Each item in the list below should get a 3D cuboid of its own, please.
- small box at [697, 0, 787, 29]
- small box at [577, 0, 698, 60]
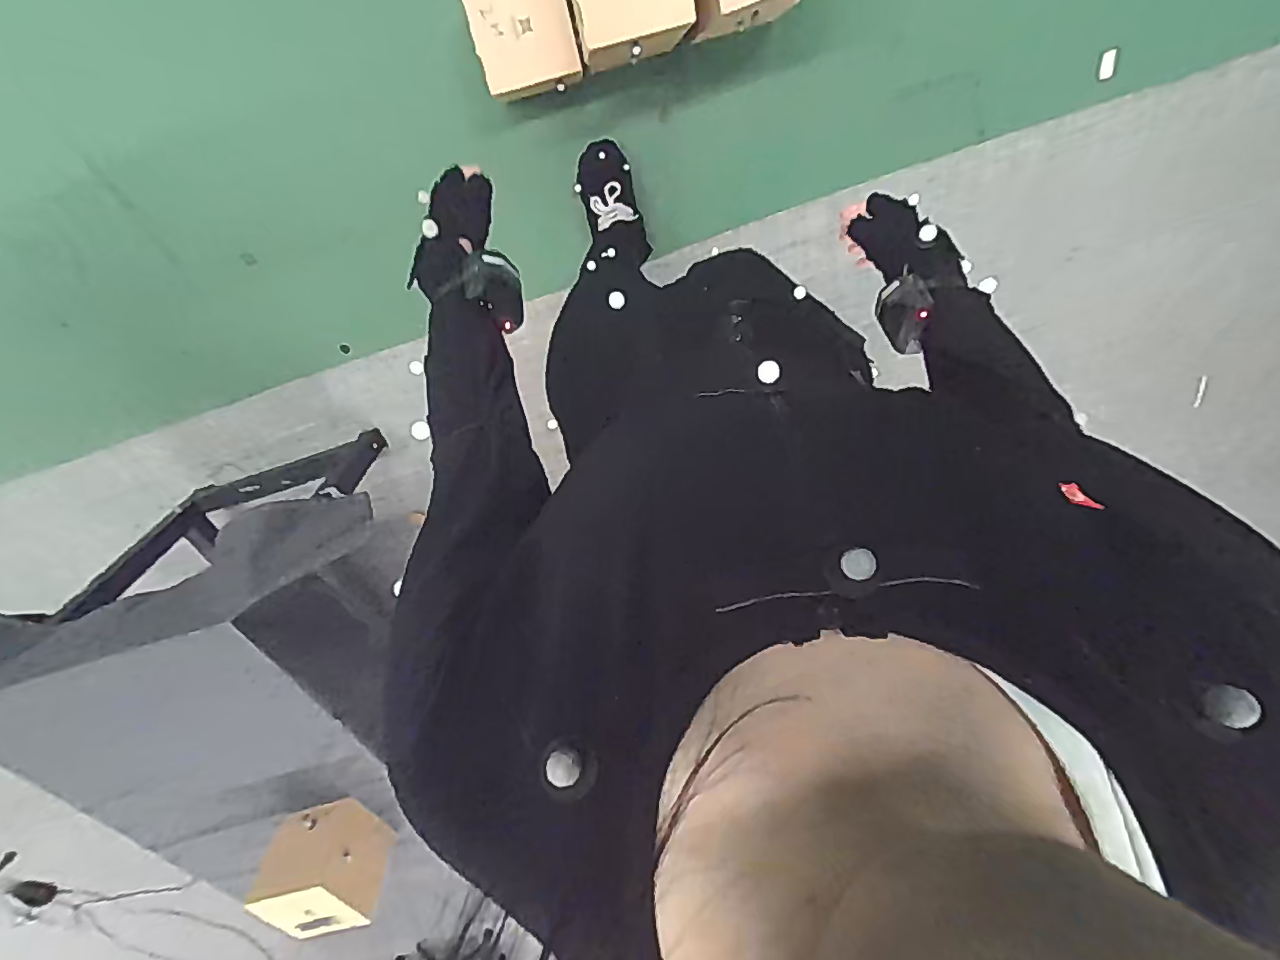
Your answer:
[{"bbox_3d":[0.178,-0.847,0.847,0.179,0.176,0.168,-17,121,5],"label":"small box"},{"bbox_3d":[-0.016,-0.797,0.860,0.179,0.176,0.168,-12,123,4],"label":"small box"}]
